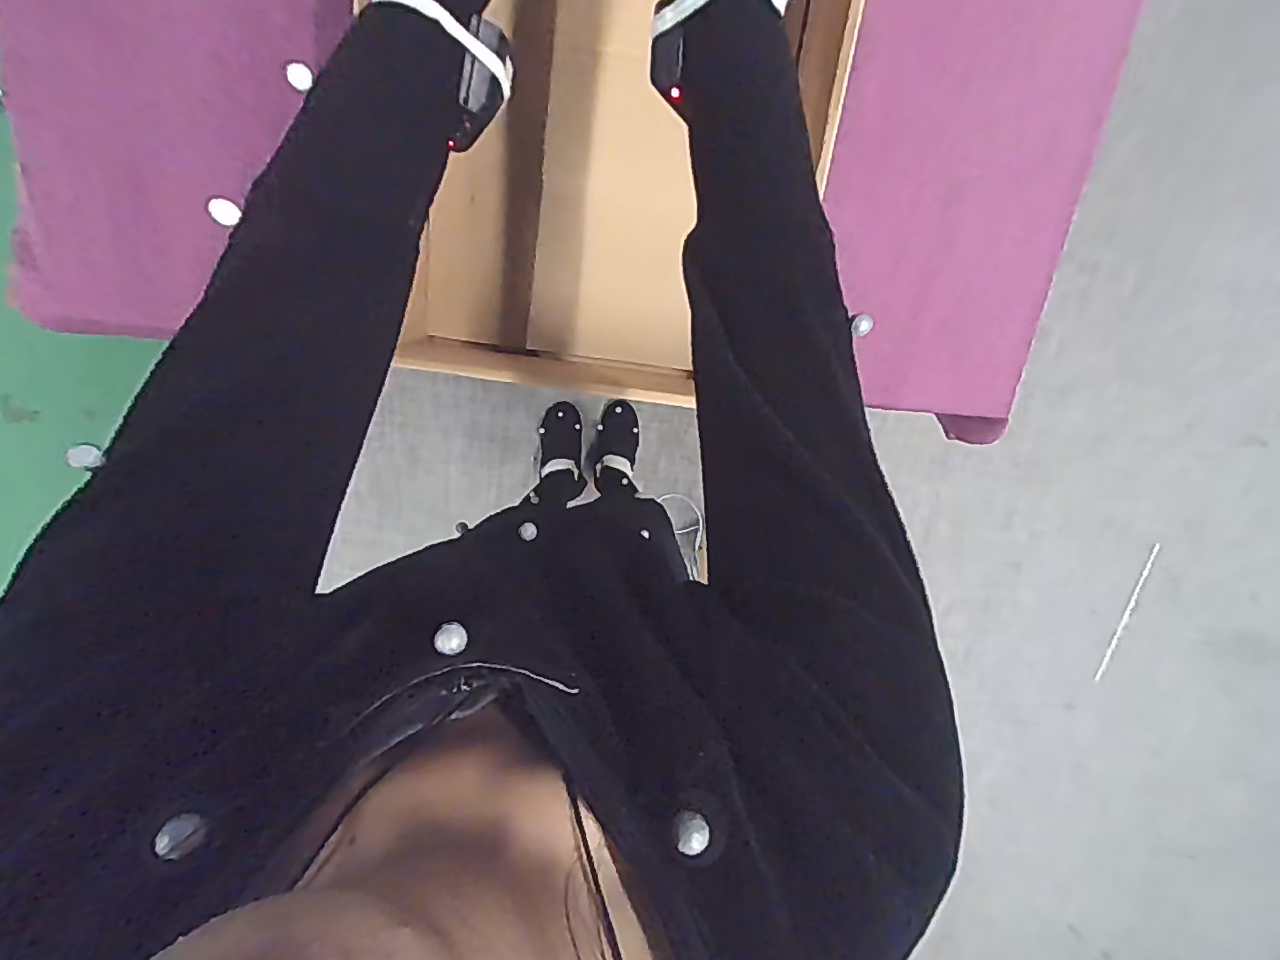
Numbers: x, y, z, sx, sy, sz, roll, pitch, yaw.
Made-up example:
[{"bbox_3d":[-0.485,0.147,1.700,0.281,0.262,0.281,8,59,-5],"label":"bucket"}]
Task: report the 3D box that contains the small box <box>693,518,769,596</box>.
[{"bbox_3d":[0.244,0.211,1.498,0.179,0.176,0.168,1,107,-2],"label":"small box"}]
